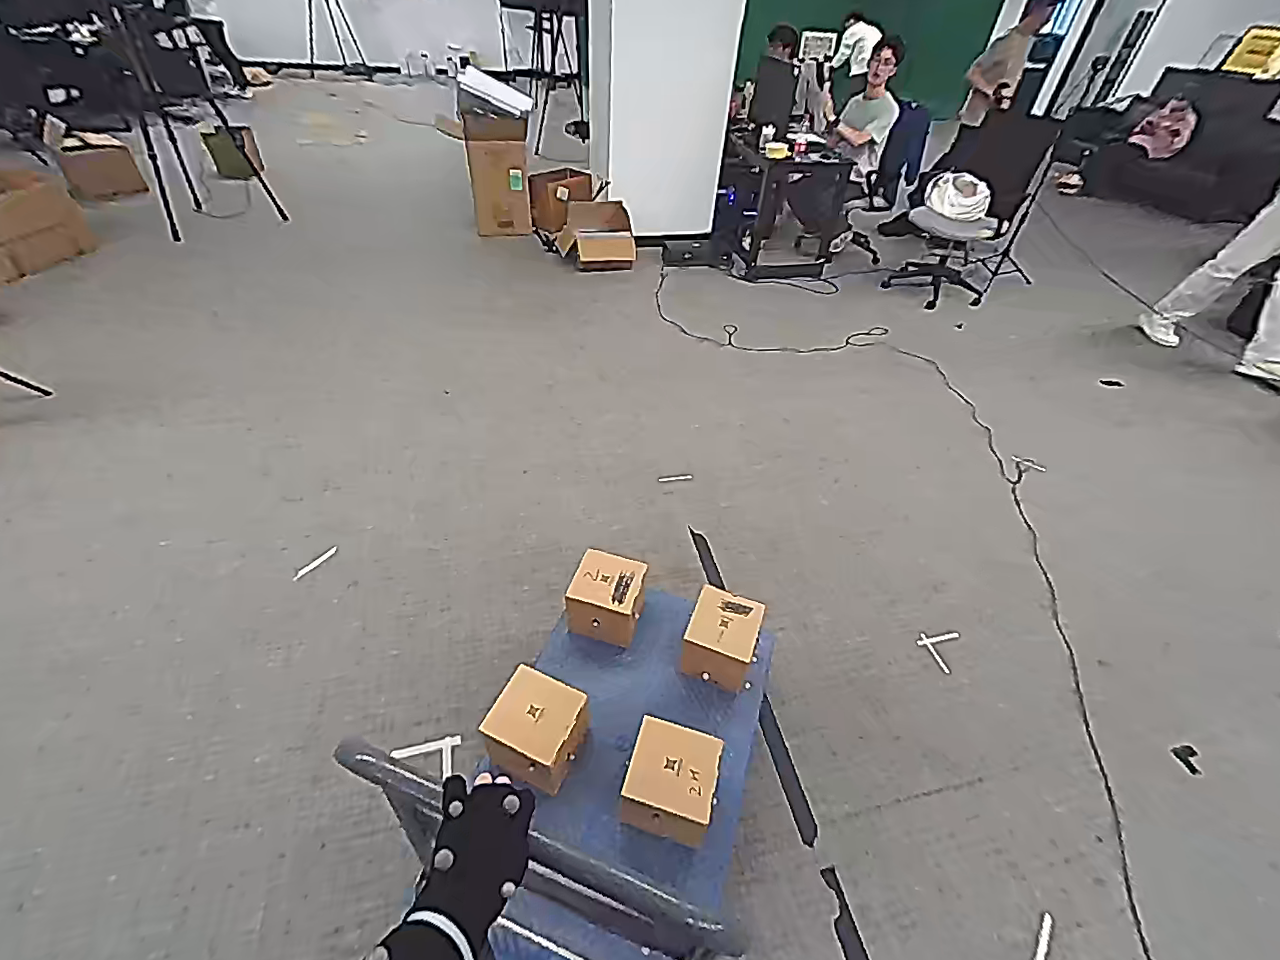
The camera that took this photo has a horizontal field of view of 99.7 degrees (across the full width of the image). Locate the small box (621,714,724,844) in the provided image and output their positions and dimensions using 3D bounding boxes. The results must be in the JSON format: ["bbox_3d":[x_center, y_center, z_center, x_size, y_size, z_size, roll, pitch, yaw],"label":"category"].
[{"bbox_3d":[0.064,0.631,1.136,0.179,0.176,0.168,15,44,11],"label":"small box"}]

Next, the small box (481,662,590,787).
[{"bbox_3d":[-0.226,0.546,1.202,0.179,0.176,0.168,21,45,14],"label":"small box"}]

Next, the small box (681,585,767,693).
[{"bbox_3d":[0.212,0.408,1.386,0.168,0.176,0.179,18,46,14],"label":"small box"}]
